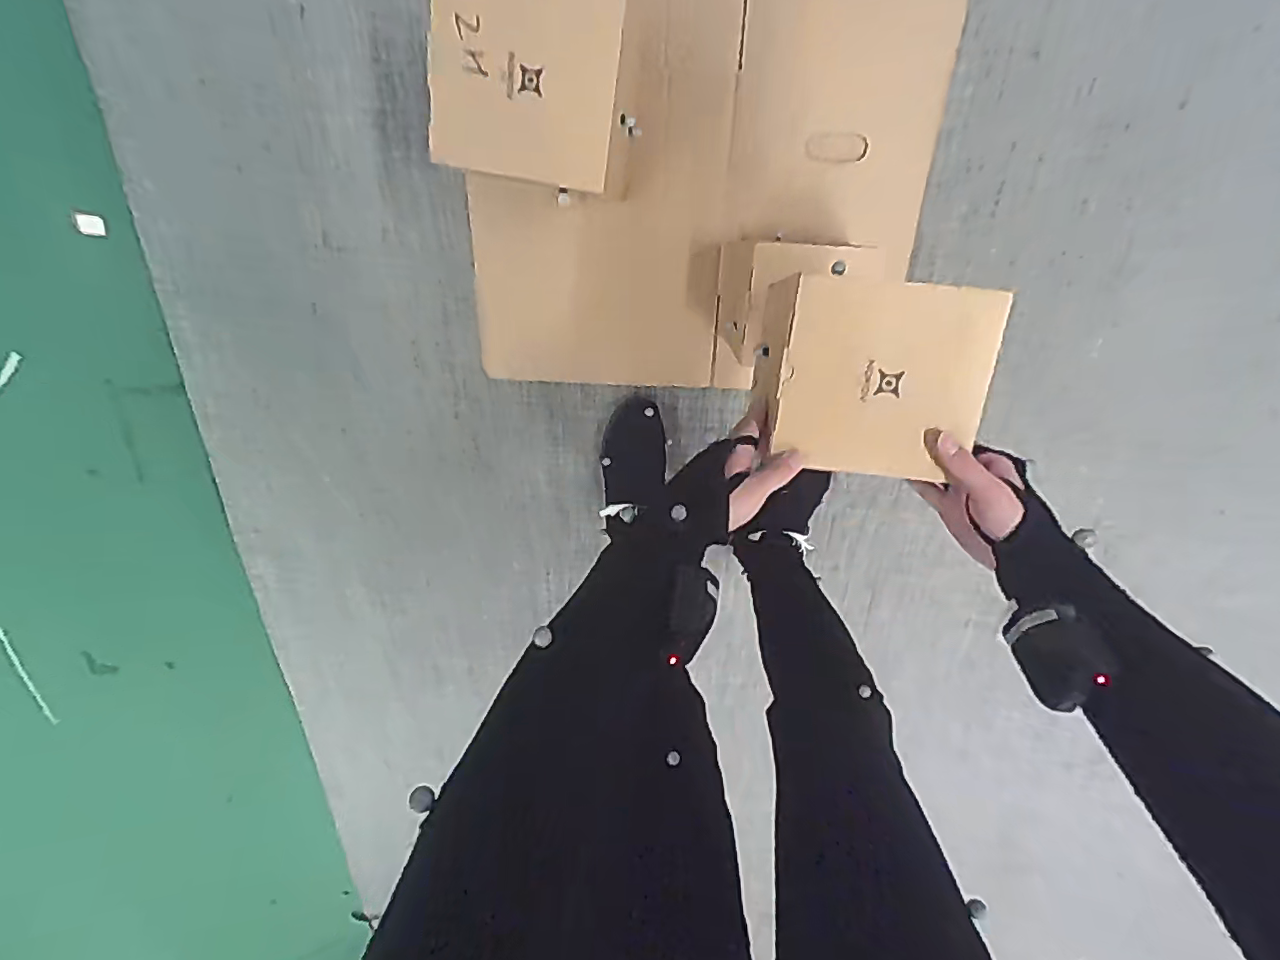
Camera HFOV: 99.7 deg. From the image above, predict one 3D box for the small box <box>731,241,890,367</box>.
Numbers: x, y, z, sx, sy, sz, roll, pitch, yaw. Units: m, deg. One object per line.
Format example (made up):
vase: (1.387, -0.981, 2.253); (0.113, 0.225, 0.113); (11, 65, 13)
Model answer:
small box: (0.236, -0.261, 0.803); (0.179, 0.176, 0.168); (4, 115, 1)

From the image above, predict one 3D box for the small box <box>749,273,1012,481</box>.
small box: (0.216, -0.108, 0.543); (0.179, 0.176, 0.168); (7, 107, 3)

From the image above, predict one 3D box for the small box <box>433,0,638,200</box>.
small box: (-0.100, -0.399, 0.567); (0.179, 0.176, 0.168); (10, 114, -2)
